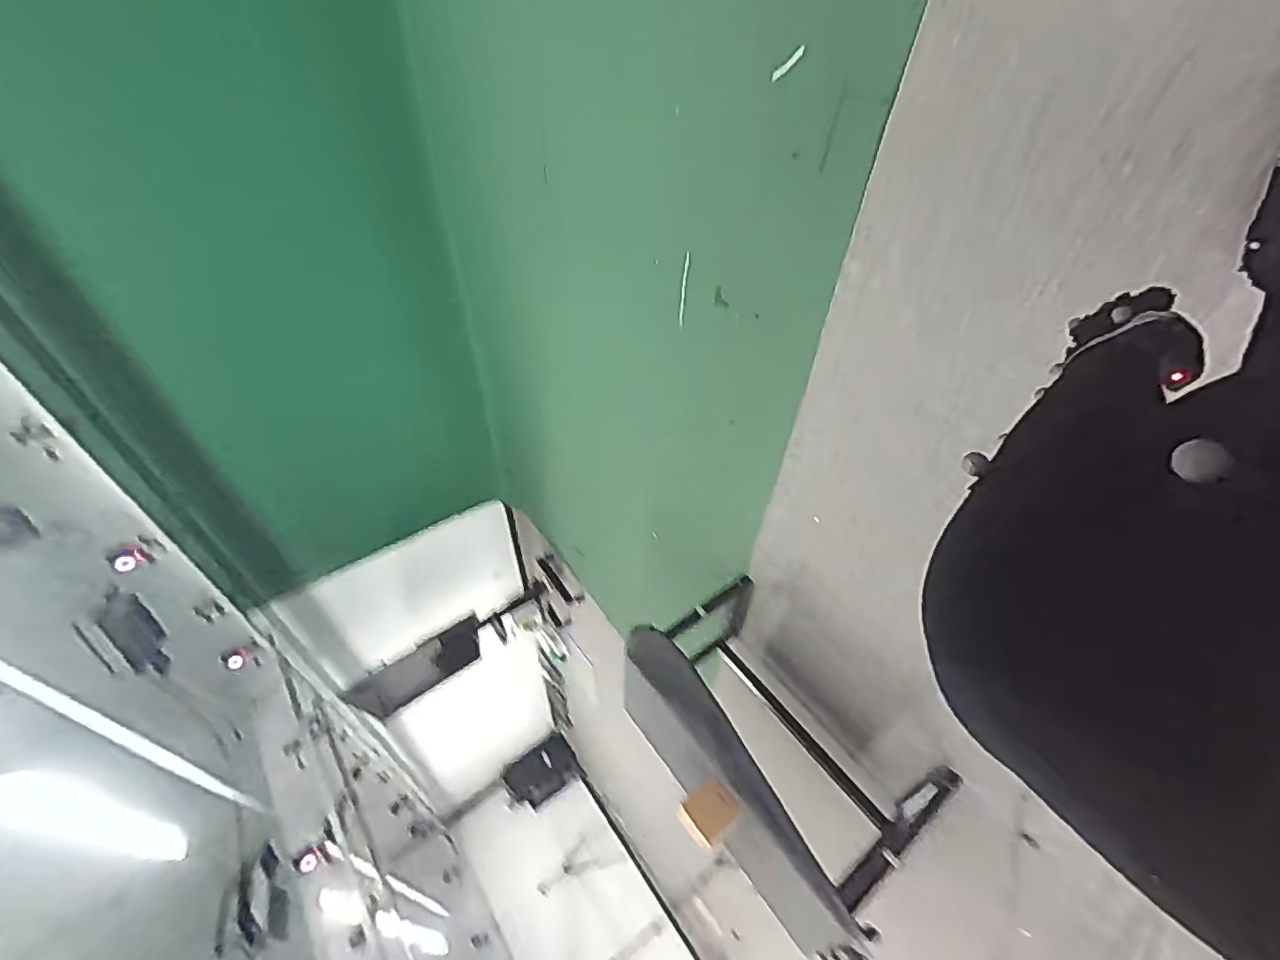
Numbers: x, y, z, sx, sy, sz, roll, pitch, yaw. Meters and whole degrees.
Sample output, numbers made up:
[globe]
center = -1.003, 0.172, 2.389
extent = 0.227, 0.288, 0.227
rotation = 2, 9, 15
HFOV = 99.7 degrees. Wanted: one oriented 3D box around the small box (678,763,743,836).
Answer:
[small box]
center = 0.274, 1.246, 2.121
extent = 0.179, 0.176, 0.168
rotation = 46, 151, 33
